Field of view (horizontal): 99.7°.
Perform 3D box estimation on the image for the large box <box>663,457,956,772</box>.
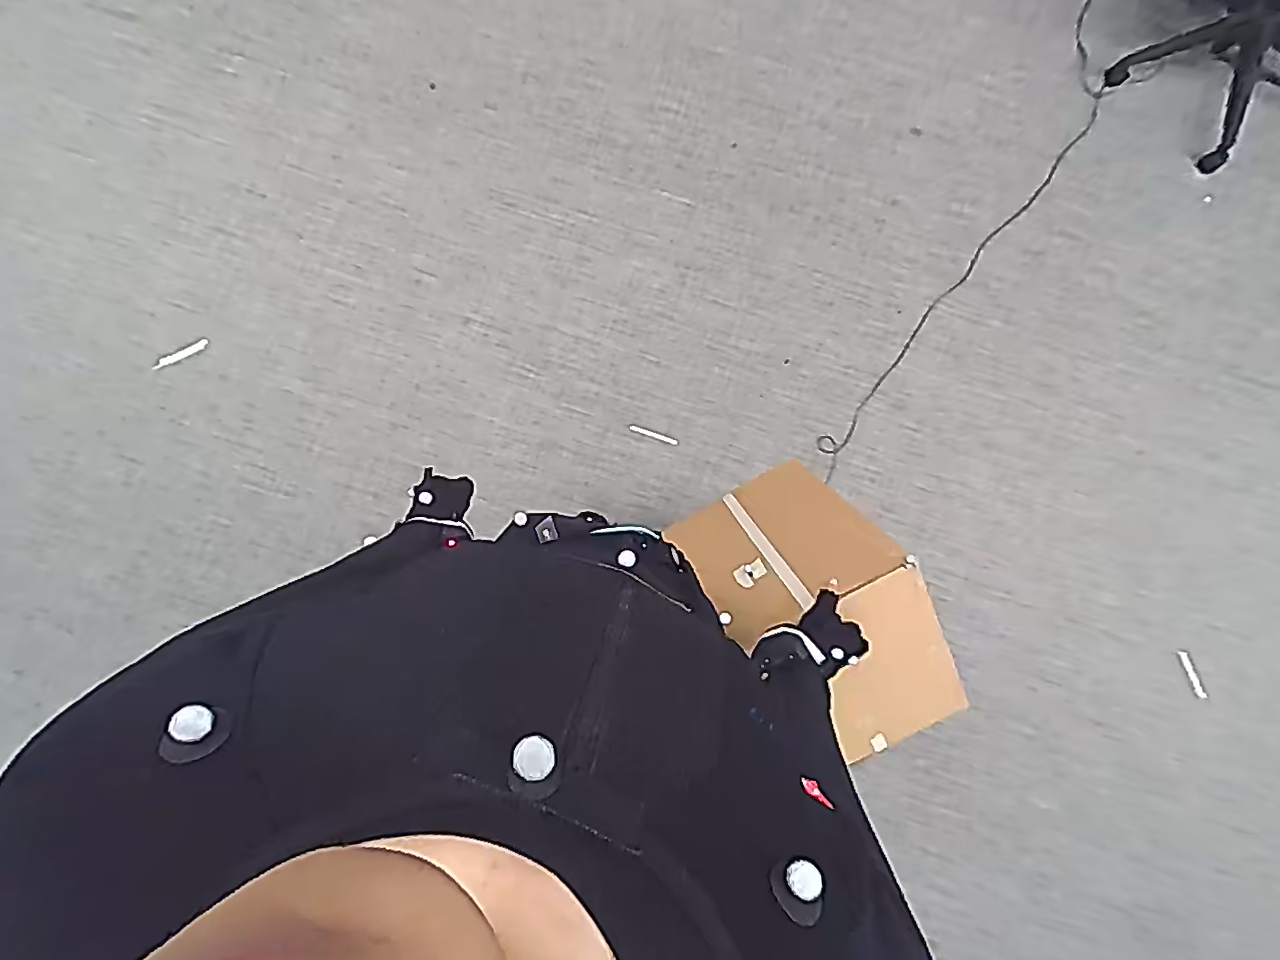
[{"bbox_3d":[0.280,0.217,0.989,0.320,0.408,0.320,-30,115,4],"label":"large box"}]
